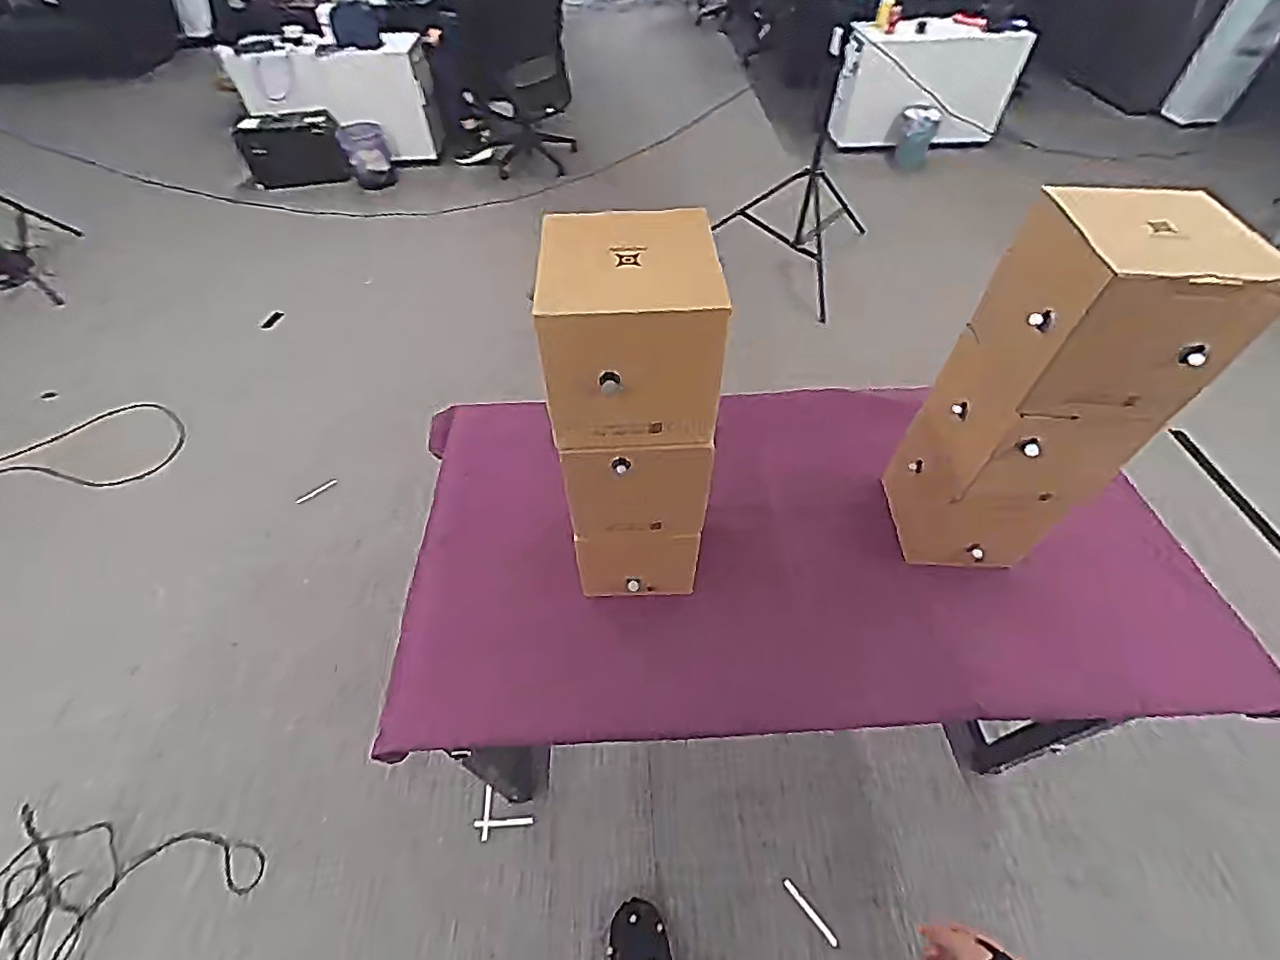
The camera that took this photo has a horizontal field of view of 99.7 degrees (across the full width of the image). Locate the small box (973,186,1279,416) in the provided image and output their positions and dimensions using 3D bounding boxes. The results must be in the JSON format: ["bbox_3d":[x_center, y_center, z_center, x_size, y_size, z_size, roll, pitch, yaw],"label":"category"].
[{"bbox_3d":[0.493,-0.185,0.570,0.168,0.176,0.179,4,51,3],"label":"small box"}]

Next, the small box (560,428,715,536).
[{"bbox_3d":[-0.004,-0.048,0.677,0.168,0.176,0.179,-2,51,-1],"label":"small box"}]

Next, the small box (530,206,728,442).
[{"bbox_3d":[-0.010,-0.151,0.550,0.168,0.176,0.179,-3,51,-1],"label":"small box"}]

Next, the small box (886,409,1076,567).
[{"bbox_3d":[0.501,0.013,0.830,0.168,0.176,0.179,1,52,3],"label":"small box"}]

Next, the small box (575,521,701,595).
[{"bbox_3d":[-0.004,0.055,0.804,0.168,0.176,0.179,-1,53,0],"label":"small box"}]
